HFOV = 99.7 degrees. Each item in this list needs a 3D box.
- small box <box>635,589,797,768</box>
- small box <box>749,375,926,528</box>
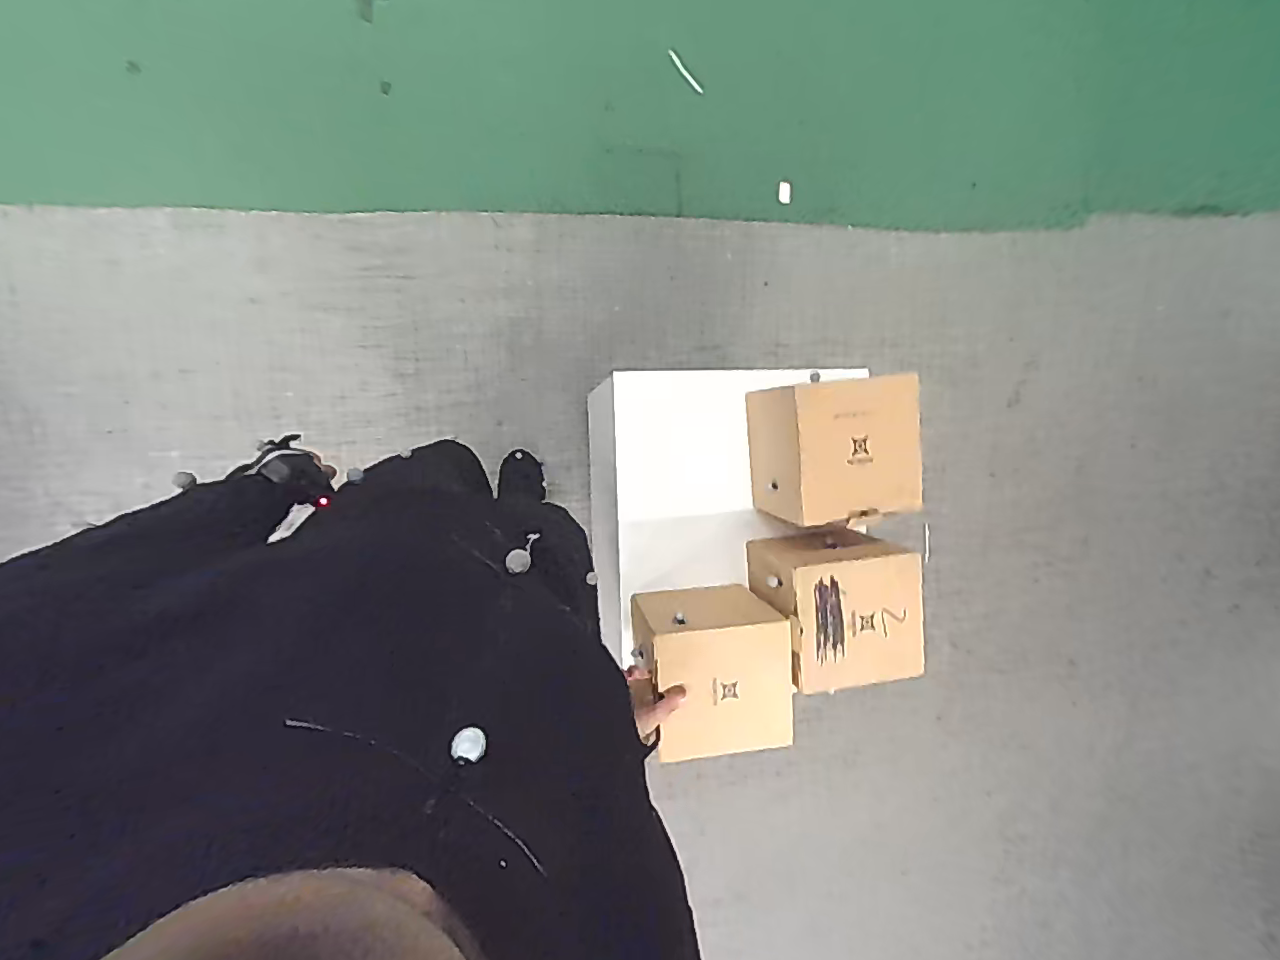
[{"bbox_3d":[0.095,0.254,0.735,0.179,0.176,0.168,-4,96,-9],"label":"small box"},{"bbox_3d":[0.258,-0.043,0.736,0.168,0.176,0.179,-7,96,-10],"label":"small box"}]
